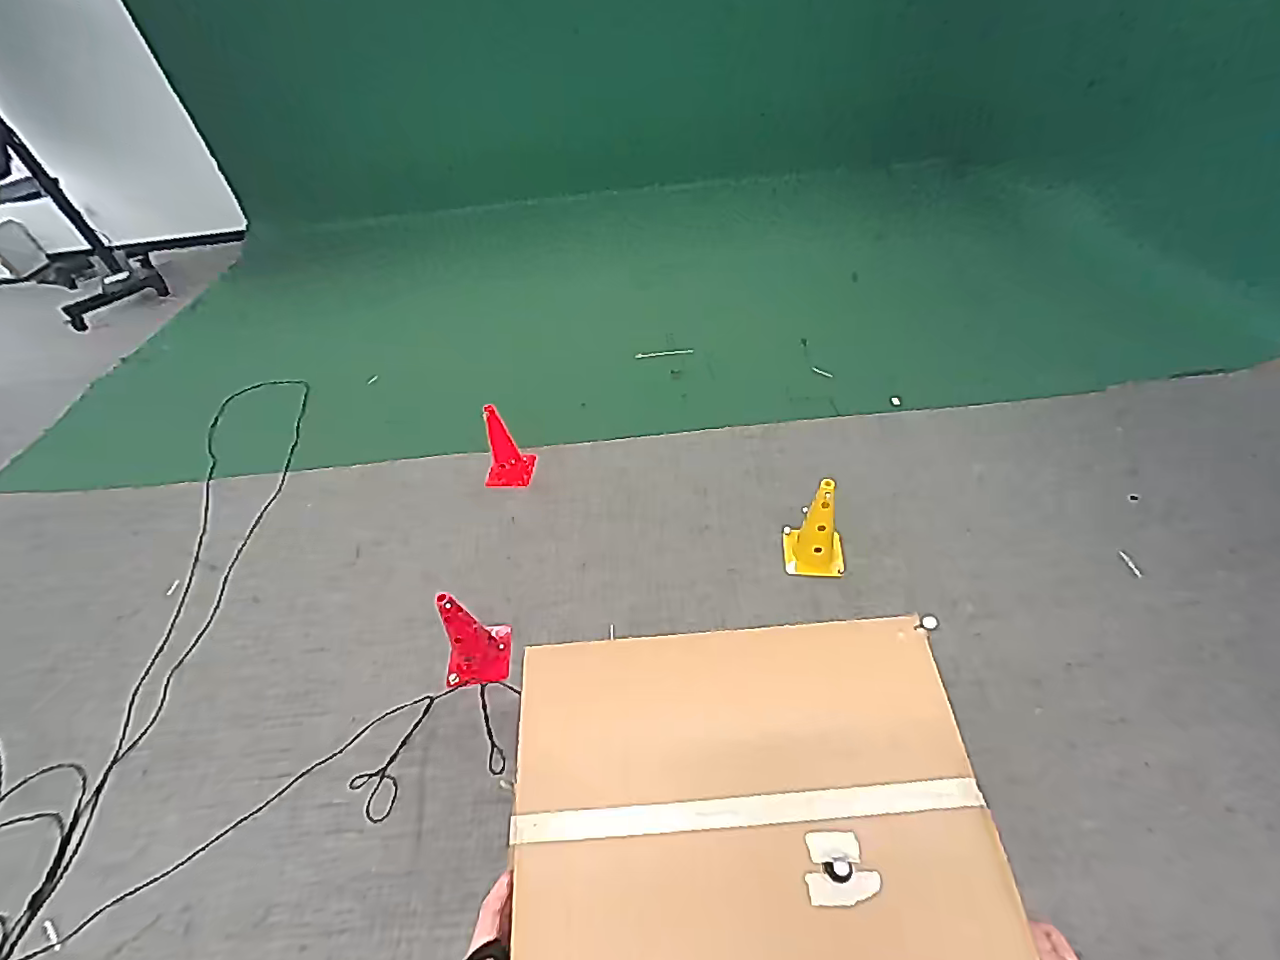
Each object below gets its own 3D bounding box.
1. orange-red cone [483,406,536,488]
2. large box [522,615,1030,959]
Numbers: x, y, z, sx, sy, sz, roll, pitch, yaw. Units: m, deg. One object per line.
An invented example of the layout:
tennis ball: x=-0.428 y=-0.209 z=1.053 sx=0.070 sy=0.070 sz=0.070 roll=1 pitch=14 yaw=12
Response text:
orange-red cone: x=-0.586 y=-0.157 z=2.257 sx=0.199 sy=0.360 sz=0.198 roll=-1 pitch=45 yaw=8
large box: x=0.099 y=0.368 z=0.607 sx=0.408 sy=0.320 sz=0.320 roll=-5 pitch=58 yaw=0
